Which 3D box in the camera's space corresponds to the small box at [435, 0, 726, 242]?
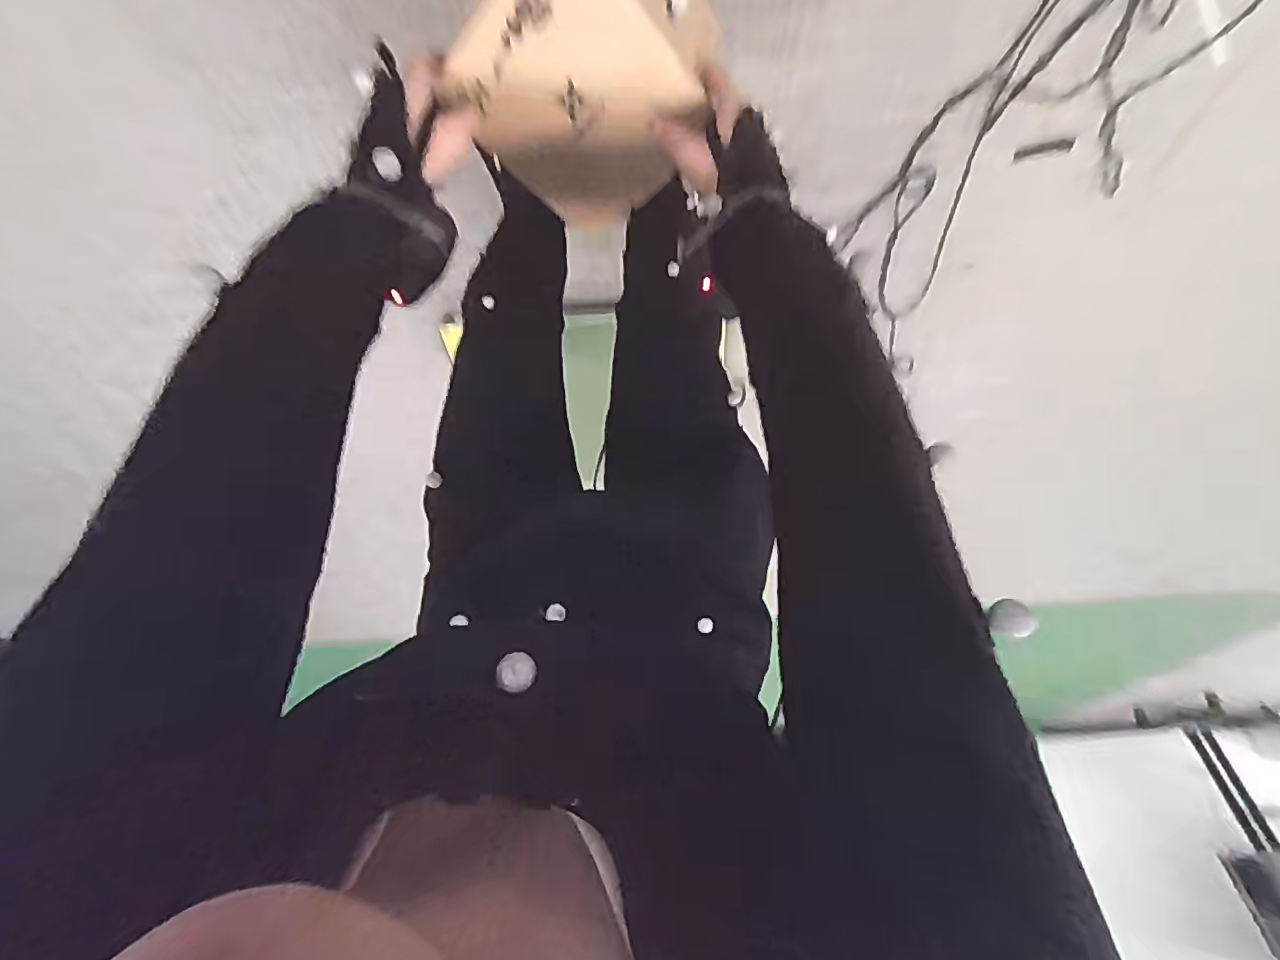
[{"bbox_3d":[-0.042,-0.360,0.469,0.168,0.176,0.179,-24,141,37],"label":"small box"}]
